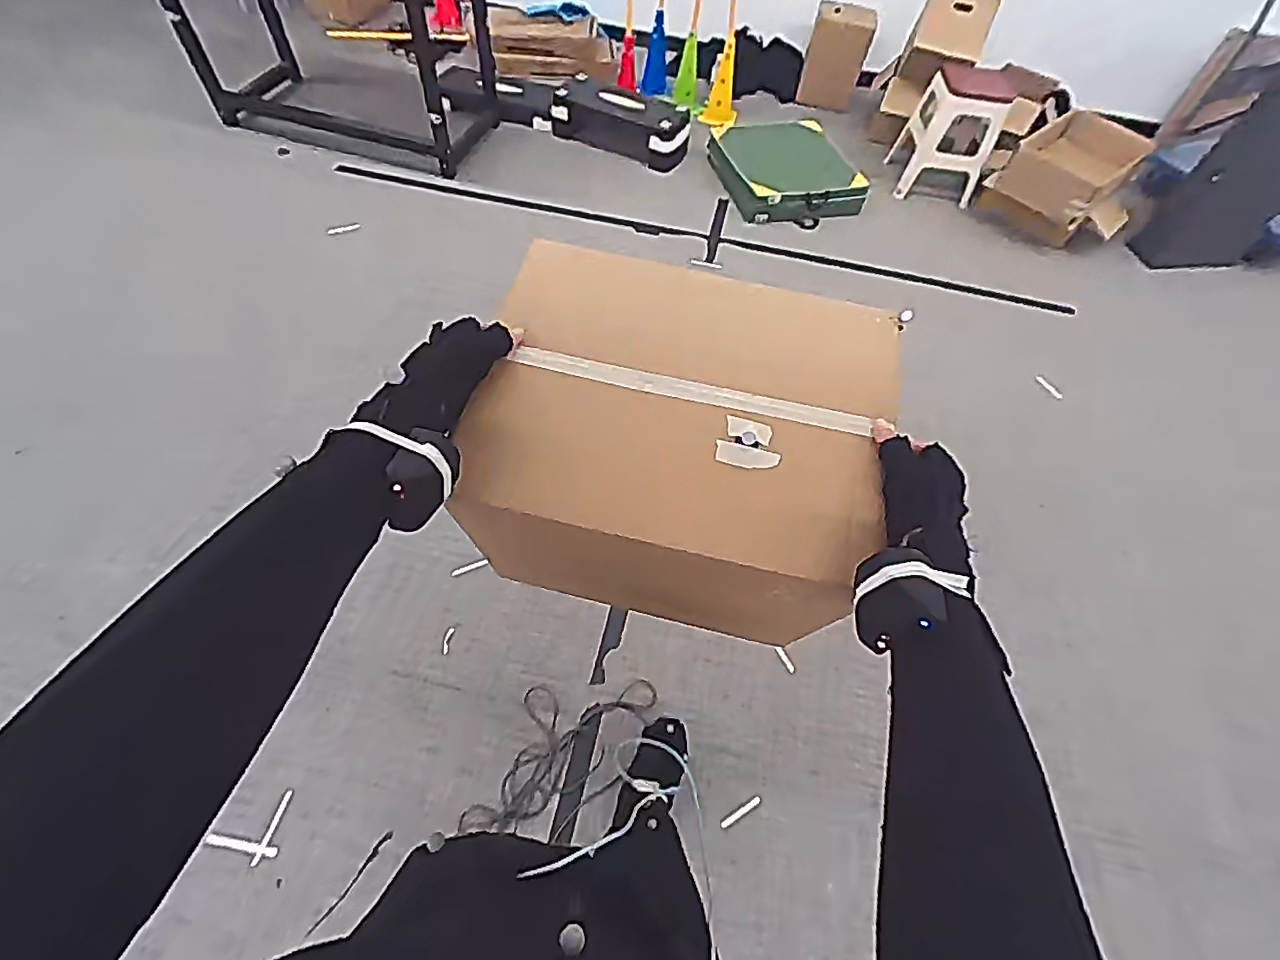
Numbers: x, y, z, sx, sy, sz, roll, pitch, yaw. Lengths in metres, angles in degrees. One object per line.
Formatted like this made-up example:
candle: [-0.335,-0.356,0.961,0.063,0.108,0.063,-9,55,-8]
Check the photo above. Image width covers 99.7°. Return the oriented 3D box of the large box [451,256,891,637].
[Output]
large box: [0.042,-0.020,0.679,0.408,0.320,0.320,13,67,3]
